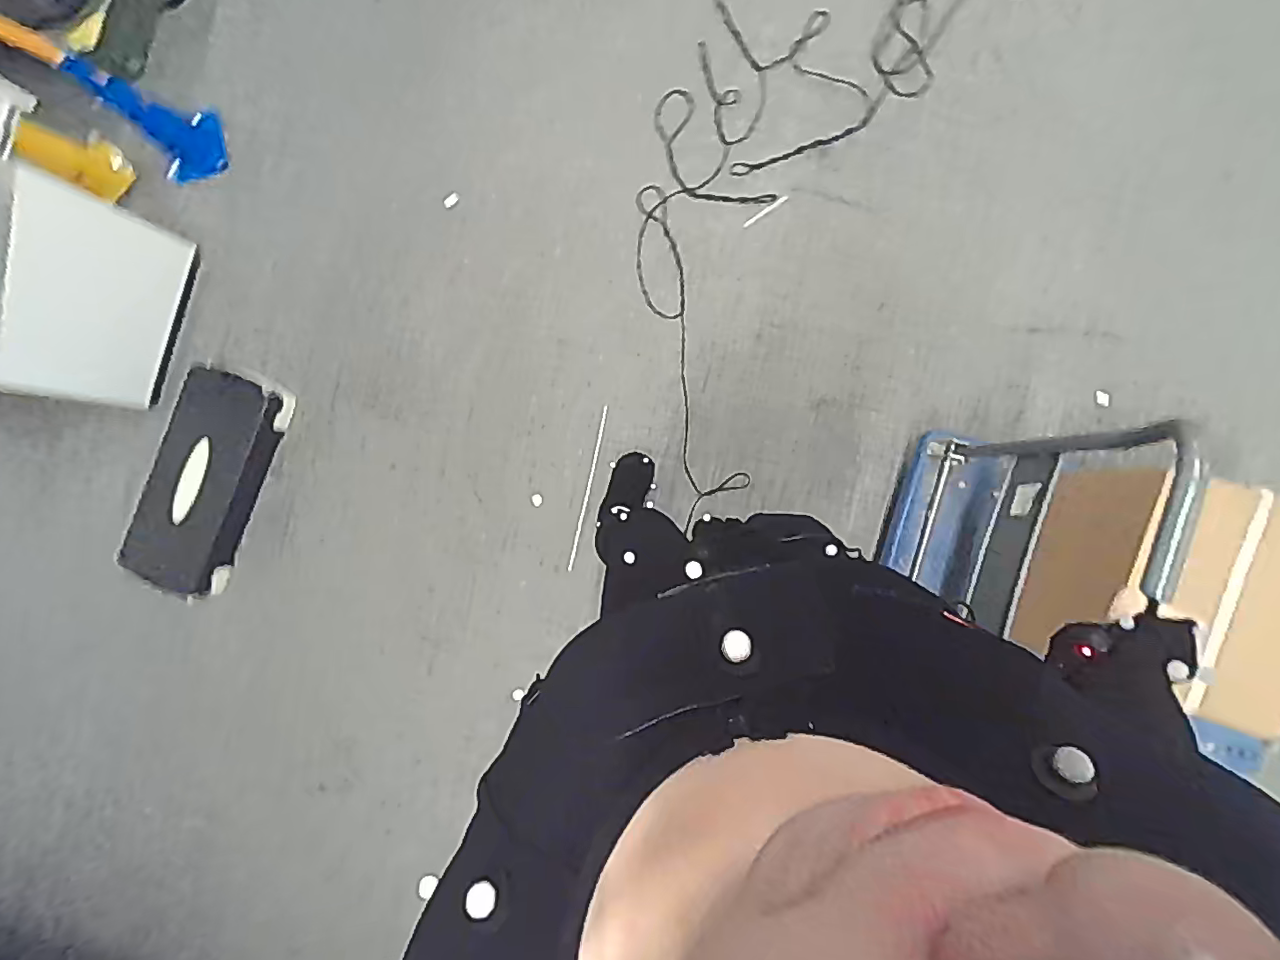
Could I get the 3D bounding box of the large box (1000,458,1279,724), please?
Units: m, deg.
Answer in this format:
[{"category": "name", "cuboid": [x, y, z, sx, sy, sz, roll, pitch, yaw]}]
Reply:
[{"category": "large box", "cuboid": [1.017, 0.189, 1.090, 0.320, 0.320, 0.408, 18, 92, 7]}]
